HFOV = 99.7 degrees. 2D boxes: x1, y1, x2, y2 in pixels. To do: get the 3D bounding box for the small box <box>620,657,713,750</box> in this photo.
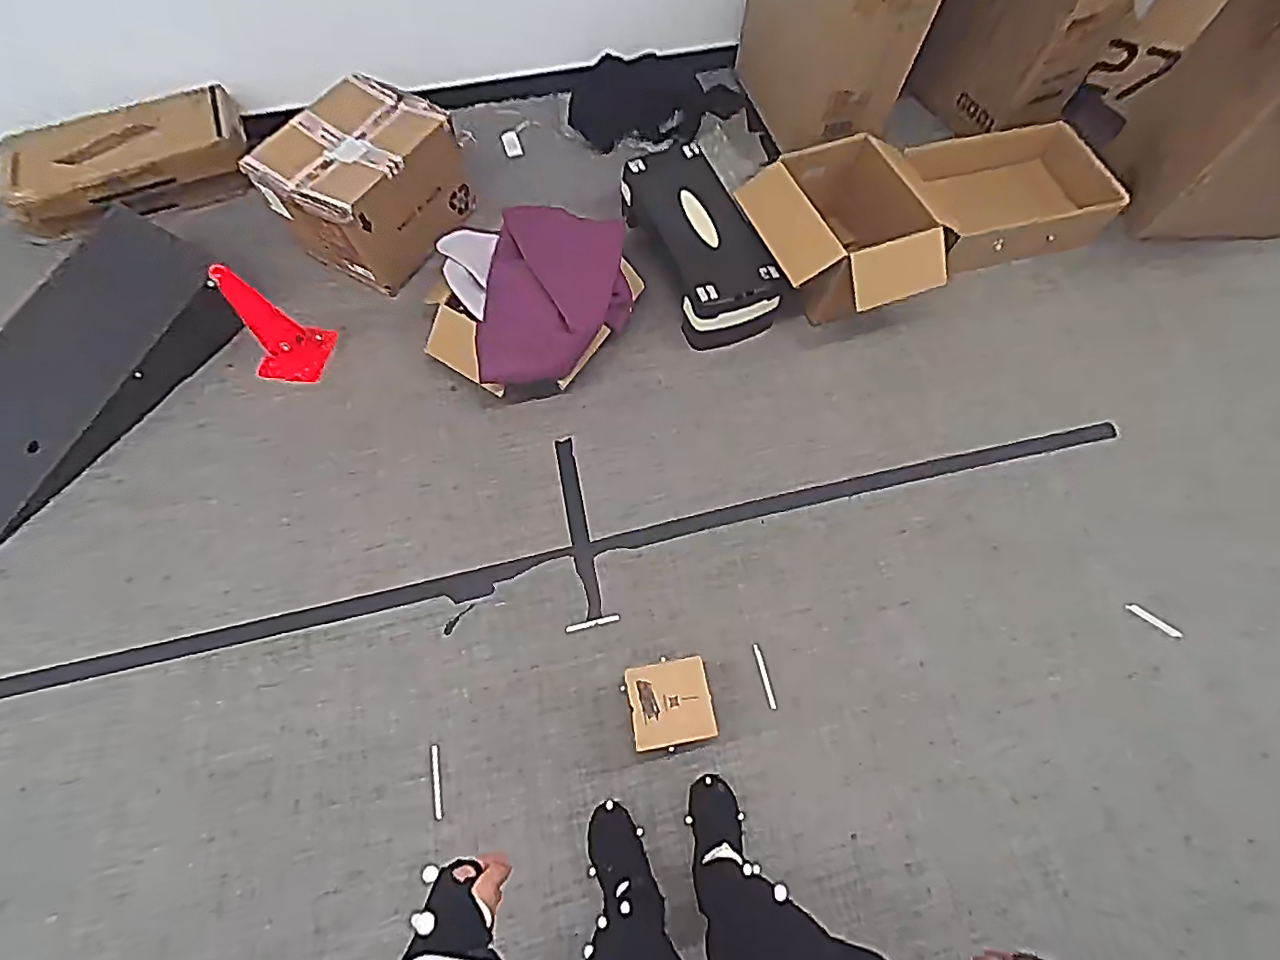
[{"bbox_3d":[0.054,0.506,1.224,0.179,0.176,0.168,-9,68,-5],"label":"small box"}]
